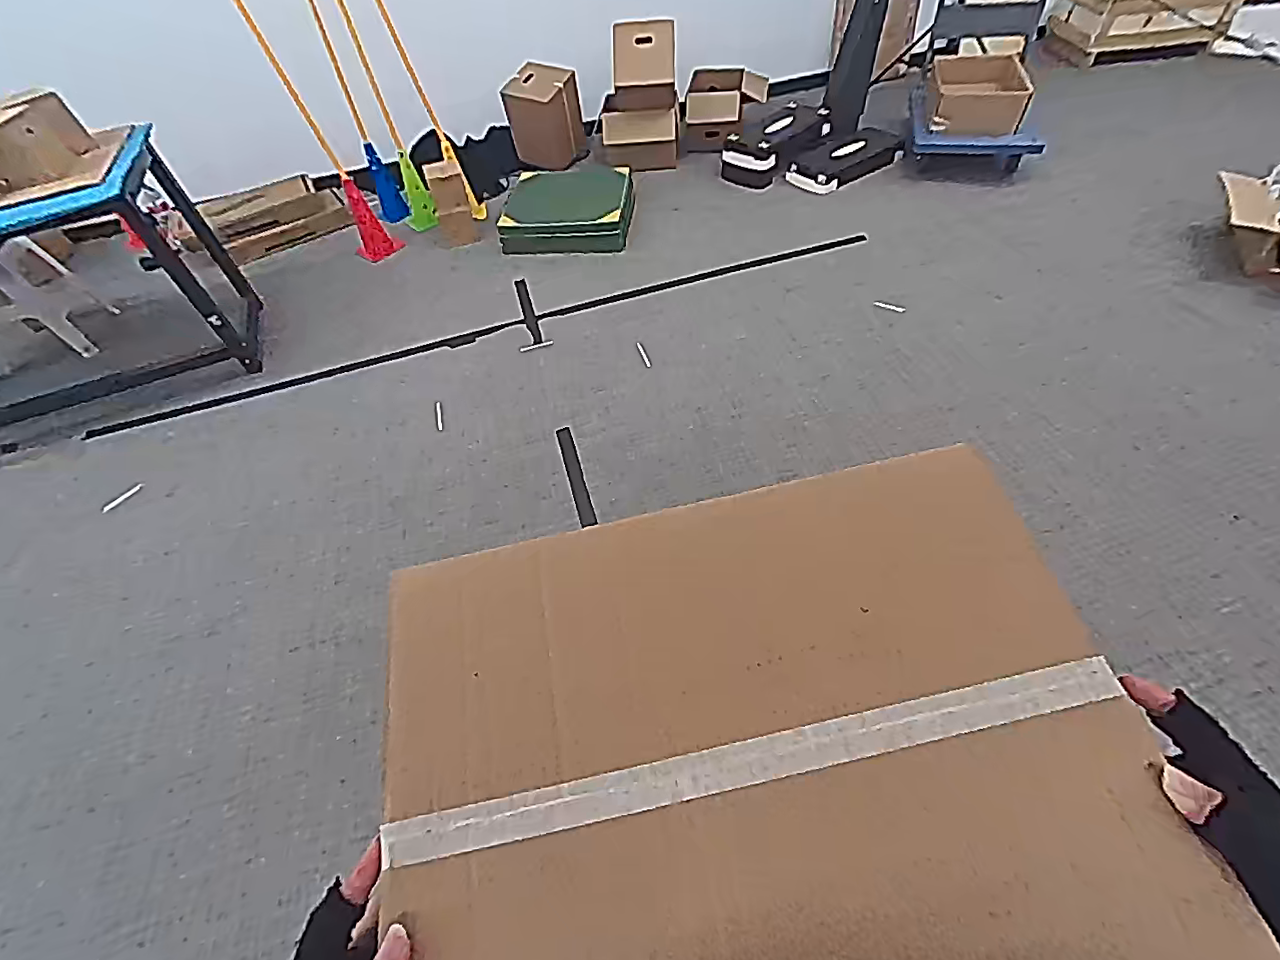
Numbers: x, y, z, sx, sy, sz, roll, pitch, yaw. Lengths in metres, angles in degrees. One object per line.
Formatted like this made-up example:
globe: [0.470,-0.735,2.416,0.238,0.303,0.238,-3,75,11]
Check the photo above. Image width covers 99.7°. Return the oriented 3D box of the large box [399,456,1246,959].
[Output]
large box: [0.075,0.226,0.437,0.408,0.320,0.320,-13,60,-1]
